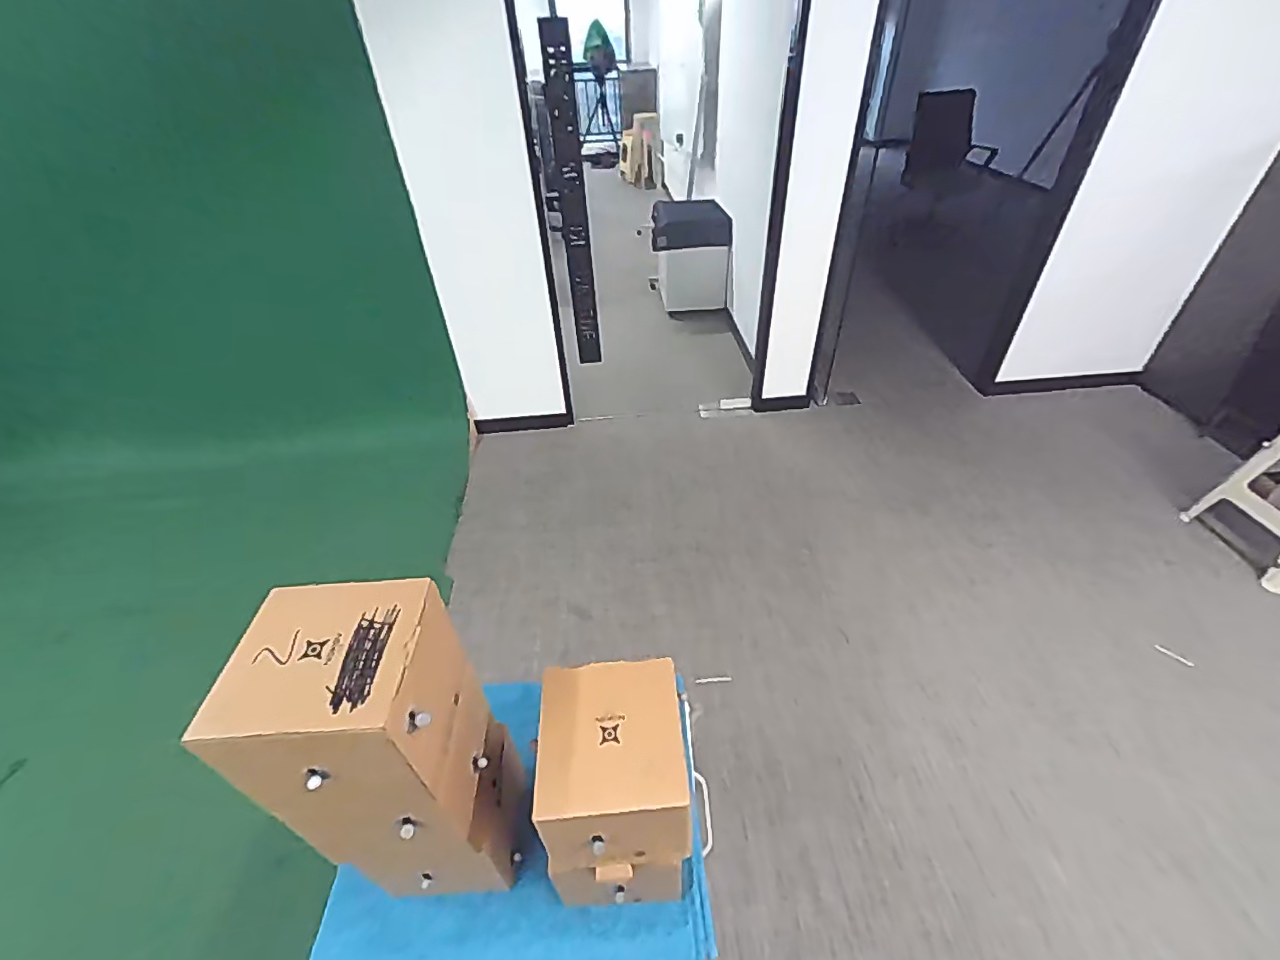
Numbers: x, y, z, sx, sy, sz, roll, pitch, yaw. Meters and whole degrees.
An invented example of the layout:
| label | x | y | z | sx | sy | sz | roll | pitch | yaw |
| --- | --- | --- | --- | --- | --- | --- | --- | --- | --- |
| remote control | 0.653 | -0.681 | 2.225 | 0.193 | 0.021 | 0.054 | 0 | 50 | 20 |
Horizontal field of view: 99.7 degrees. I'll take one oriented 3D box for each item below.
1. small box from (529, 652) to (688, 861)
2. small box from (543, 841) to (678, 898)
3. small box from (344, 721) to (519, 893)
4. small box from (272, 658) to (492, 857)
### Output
| label | x | y | z | sx | sy | sz | roll | pitch | yaw |
| --- | --- | --- | --- | --- | --- | --- | --- | --- | --- |
| small box | -0.032 | 0.339 | 0.659 | 0.168 | 0.176 | 0.179 | -5 | 38 | -2 |
| small box | -0.035 | 0.466 | 0.762 | 0.168 | 0.176 | 0.179 | -3 | 40 | -1 |
| small box | -0.278 | 0.466 | 0.773 | 0.179 | 0.176 | 0.168 | -3 | 39 | -1 |
| small box | -0.293 | 0.341 | 0.667 | 0.179 | 0.176 | 0.168 | -3 | 39 | -1 |
